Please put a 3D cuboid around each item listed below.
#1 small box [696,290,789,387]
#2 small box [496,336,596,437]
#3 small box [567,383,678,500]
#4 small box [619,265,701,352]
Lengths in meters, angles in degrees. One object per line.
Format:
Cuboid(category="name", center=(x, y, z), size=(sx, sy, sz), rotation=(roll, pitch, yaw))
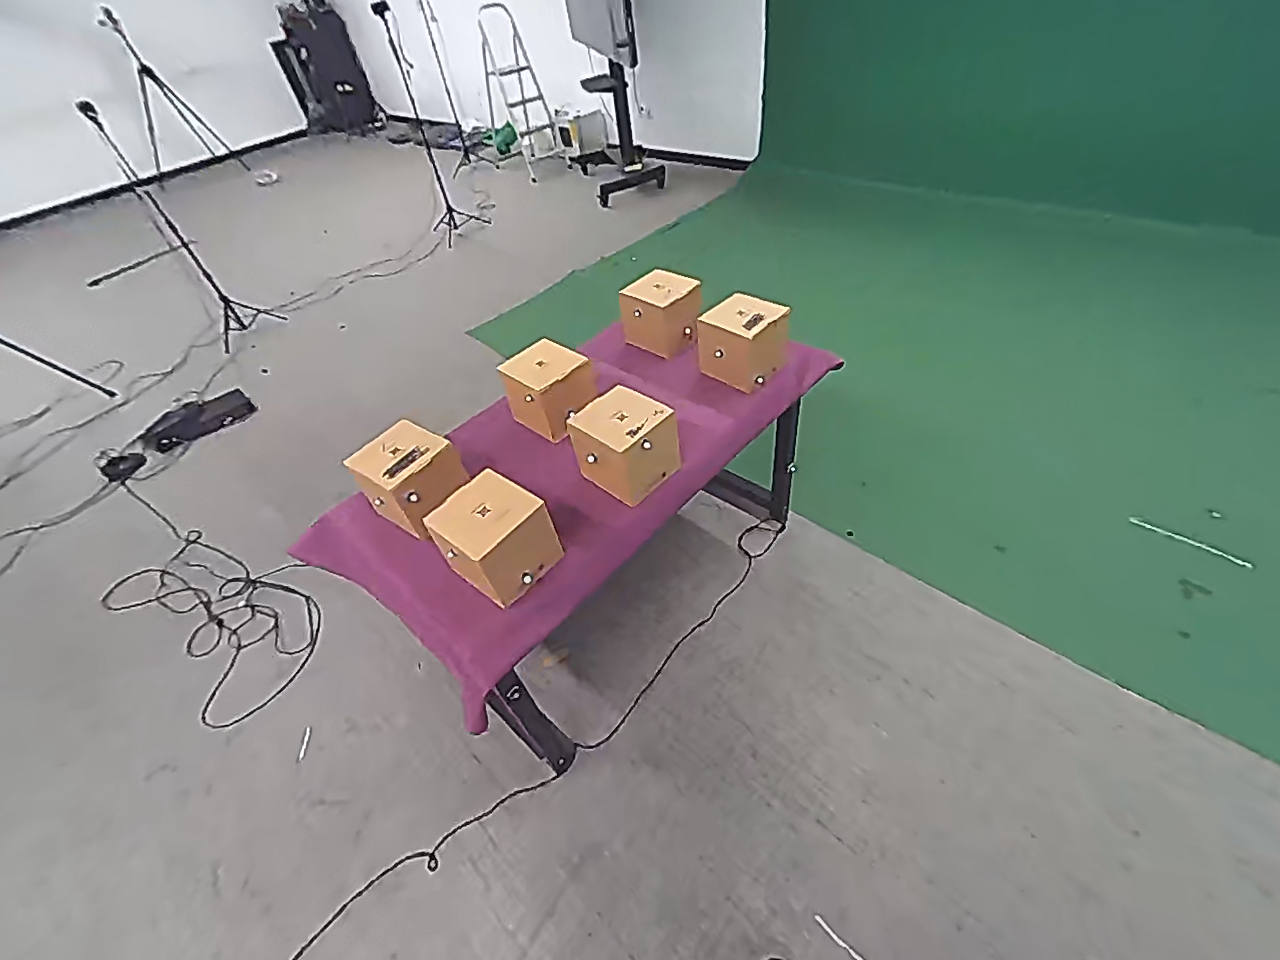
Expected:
Cuboid(category="small box", center=(0.271, -0.370, 1.426), size=(0.168, 0.176, 0.179), rotation=(-38, 50, -24))
Cuboid(category="small box", center=(-0.235, -0.238, 1.389), size=(0.179, 0.176, 0.168), rotation=(31, 58, 31))
Cuboid(category="small box", center=(-0.034, -0.083, 1.204), size=(0.179, 0.176, 0.168), rotation=(31, 58, 34))
Cuboid(category="small box", center=(0.063, -0.499, 1.584), size=(0.179, 0.176, 0.168), rotation=(32, 60, 32))
